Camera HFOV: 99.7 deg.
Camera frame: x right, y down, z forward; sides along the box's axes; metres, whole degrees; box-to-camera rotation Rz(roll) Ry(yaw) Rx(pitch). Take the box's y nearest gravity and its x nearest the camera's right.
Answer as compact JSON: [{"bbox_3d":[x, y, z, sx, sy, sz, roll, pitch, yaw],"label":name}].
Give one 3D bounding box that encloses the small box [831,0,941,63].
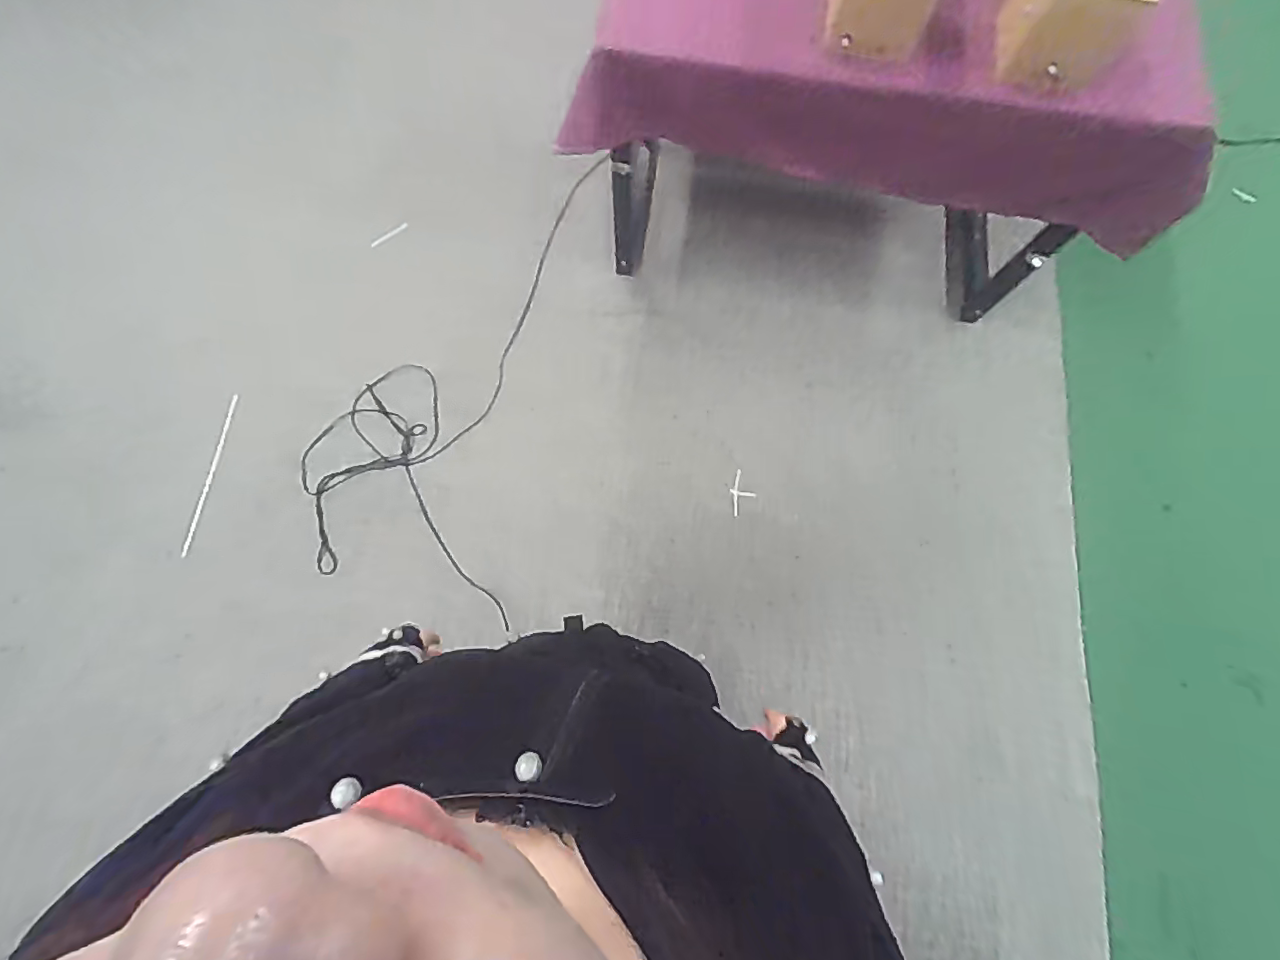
[{"bbox_3d":[0.466,-0.922,1.000,0.168,0.176,0.179,10,74,2],"label":"small box"}]
